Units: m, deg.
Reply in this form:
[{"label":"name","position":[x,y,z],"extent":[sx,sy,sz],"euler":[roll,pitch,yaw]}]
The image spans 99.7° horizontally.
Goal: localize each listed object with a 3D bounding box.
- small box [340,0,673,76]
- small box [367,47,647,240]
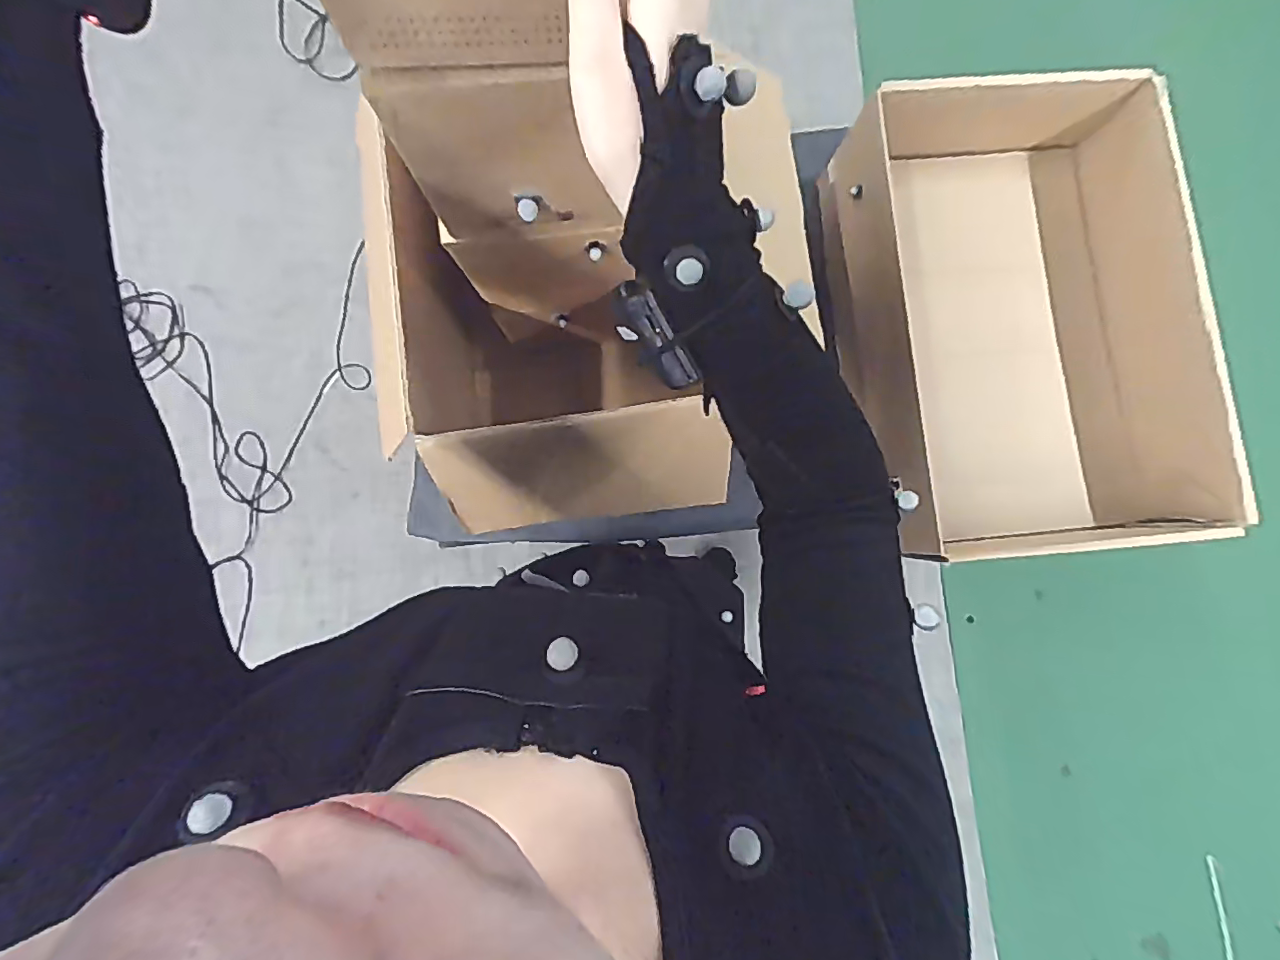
[{"label":"small box","position":[-0.071,-0.321,0.241],"extent":[0.179,0.176,0.168],"euler":[-5,86,-2]},{"label":"small box","position":[-0.088,-0.309,0.405],"extent":[0.168,0.176,0.179],"euler":[-5,87,-2]}]
